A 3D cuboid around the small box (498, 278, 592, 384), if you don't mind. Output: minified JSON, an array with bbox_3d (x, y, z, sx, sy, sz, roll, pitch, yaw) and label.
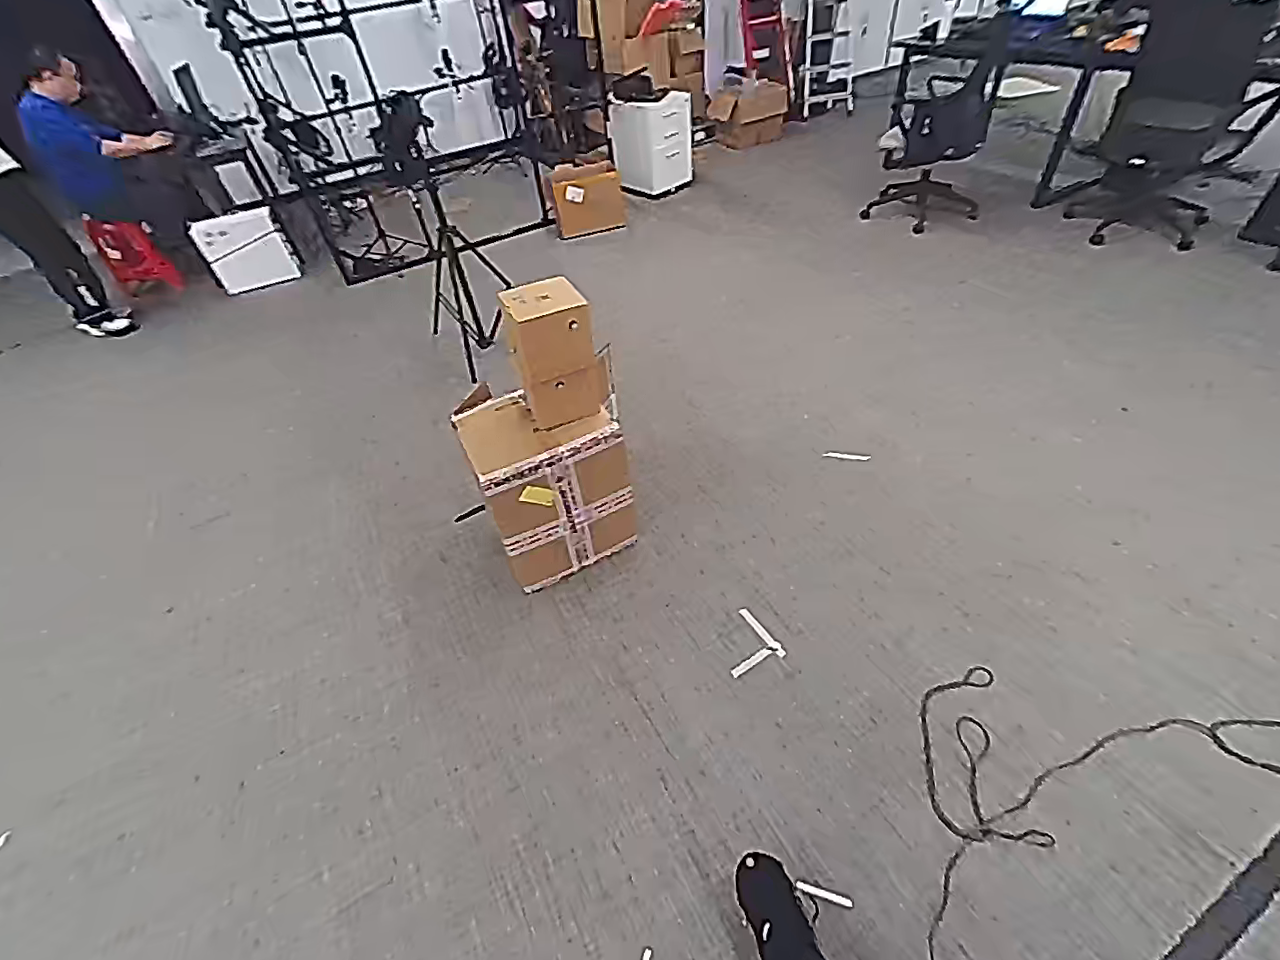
[{"bbox_3d":[-0.225,-0.364,1.324,0.179,0.176,0.168,-22,48,-16],"label":"small box"}]

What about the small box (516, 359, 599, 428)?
[{"bbox_3d":[-0.222,-0.265,1.458,0.179,0.176,0.168,-19,47,-14],"label":"small box"}]
